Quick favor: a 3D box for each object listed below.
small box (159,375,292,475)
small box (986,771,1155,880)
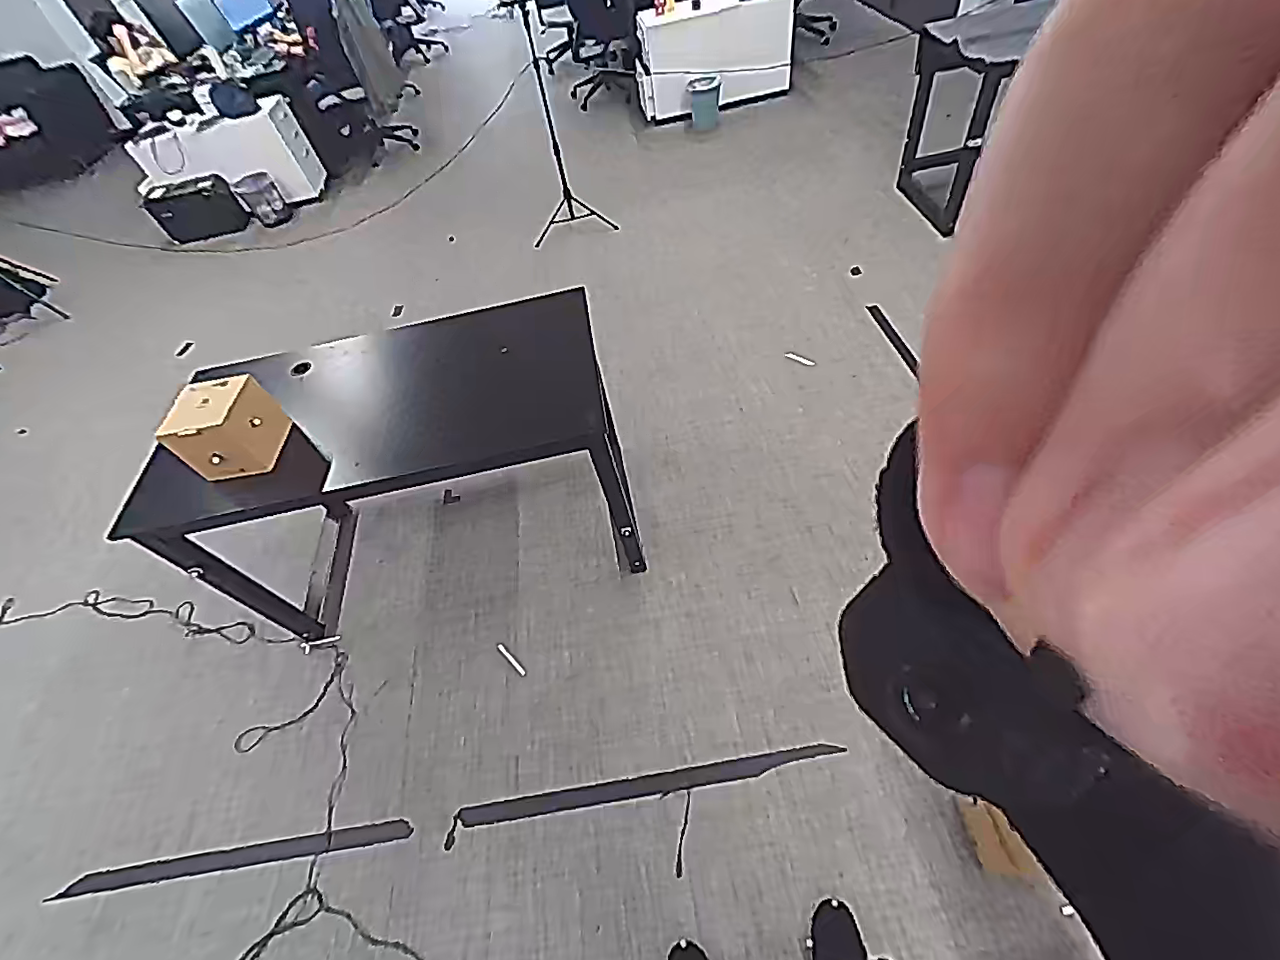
[{"bbox_3d":[-0.993,-0.126,1.317,0.168,0.176,0.179,-9,52,4],"label":"small box"},{"bbox_3d":[0.835,0.678,1.076,0.168,0.176,0.179,-12,53,1],"label":"small box"}]
